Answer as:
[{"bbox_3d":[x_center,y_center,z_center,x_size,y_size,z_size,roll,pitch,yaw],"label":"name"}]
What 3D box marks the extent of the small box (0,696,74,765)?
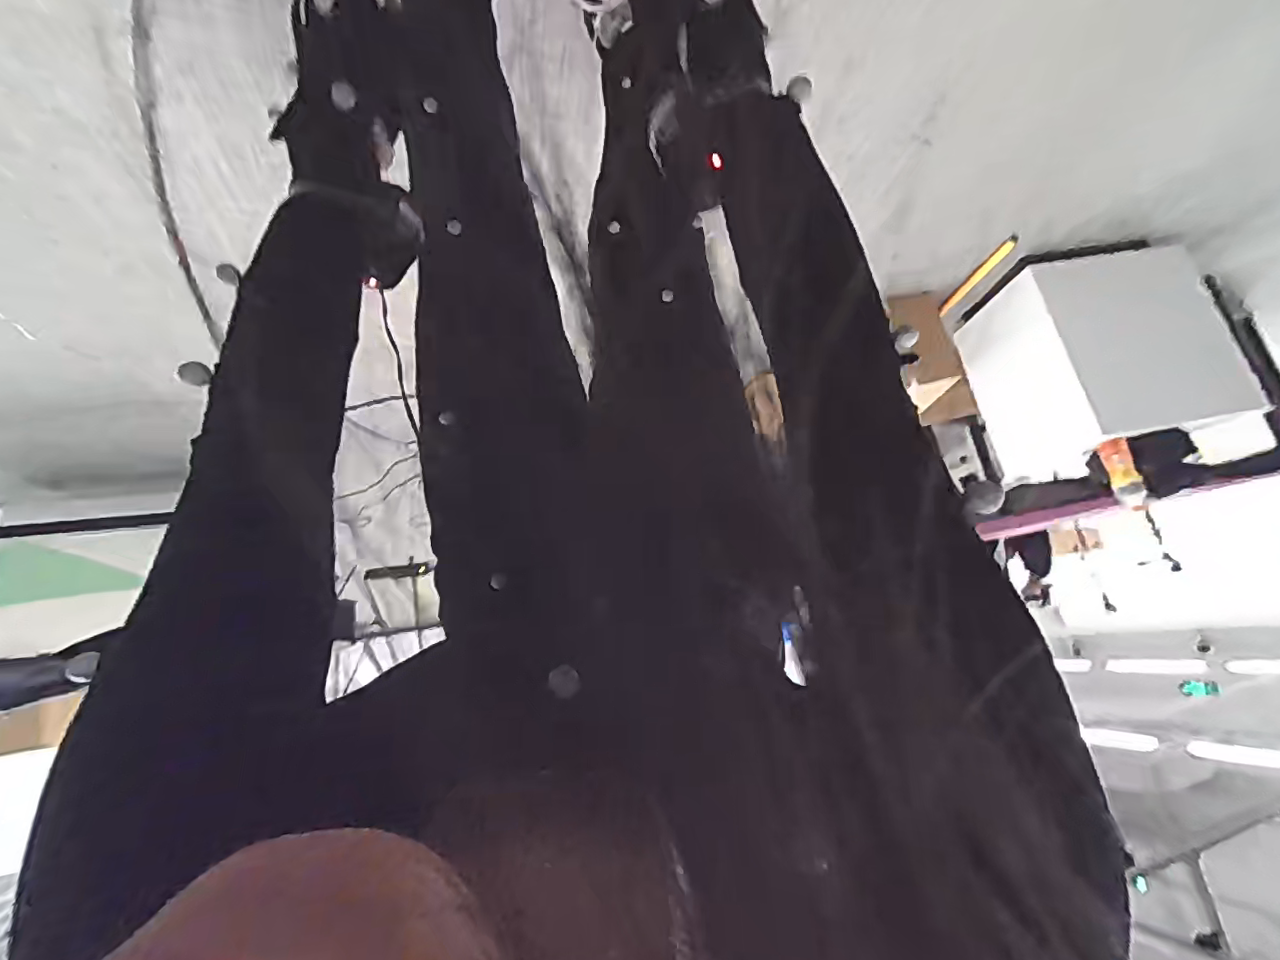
[{"bbox_3d":[-1.868,0.756,1.628,0.168,0.176,0.179,-7,164,-17],"label":"small box"}]
